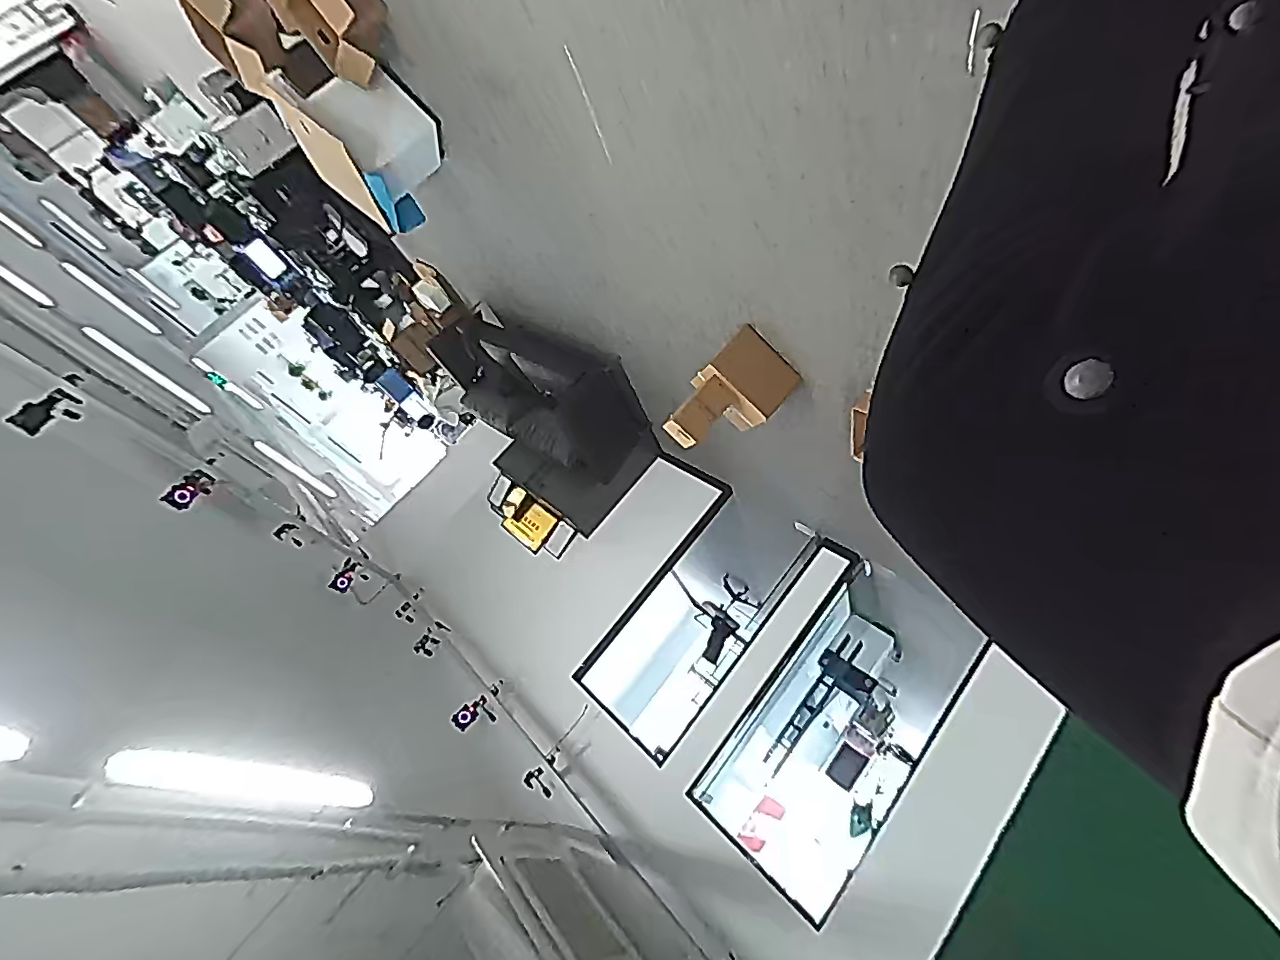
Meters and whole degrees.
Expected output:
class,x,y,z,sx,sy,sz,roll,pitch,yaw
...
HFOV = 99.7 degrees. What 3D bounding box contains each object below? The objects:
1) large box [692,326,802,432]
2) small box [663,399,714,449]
class,x,y,z,sx,sy,sz,roll,pitch,yaw
large box,0.554,-0.523,2.835,0.408,0.320,0.320,42,167,-5
small box,0.245,-0.279,2.692,0.168,0.176,0.179,43,166,-7
